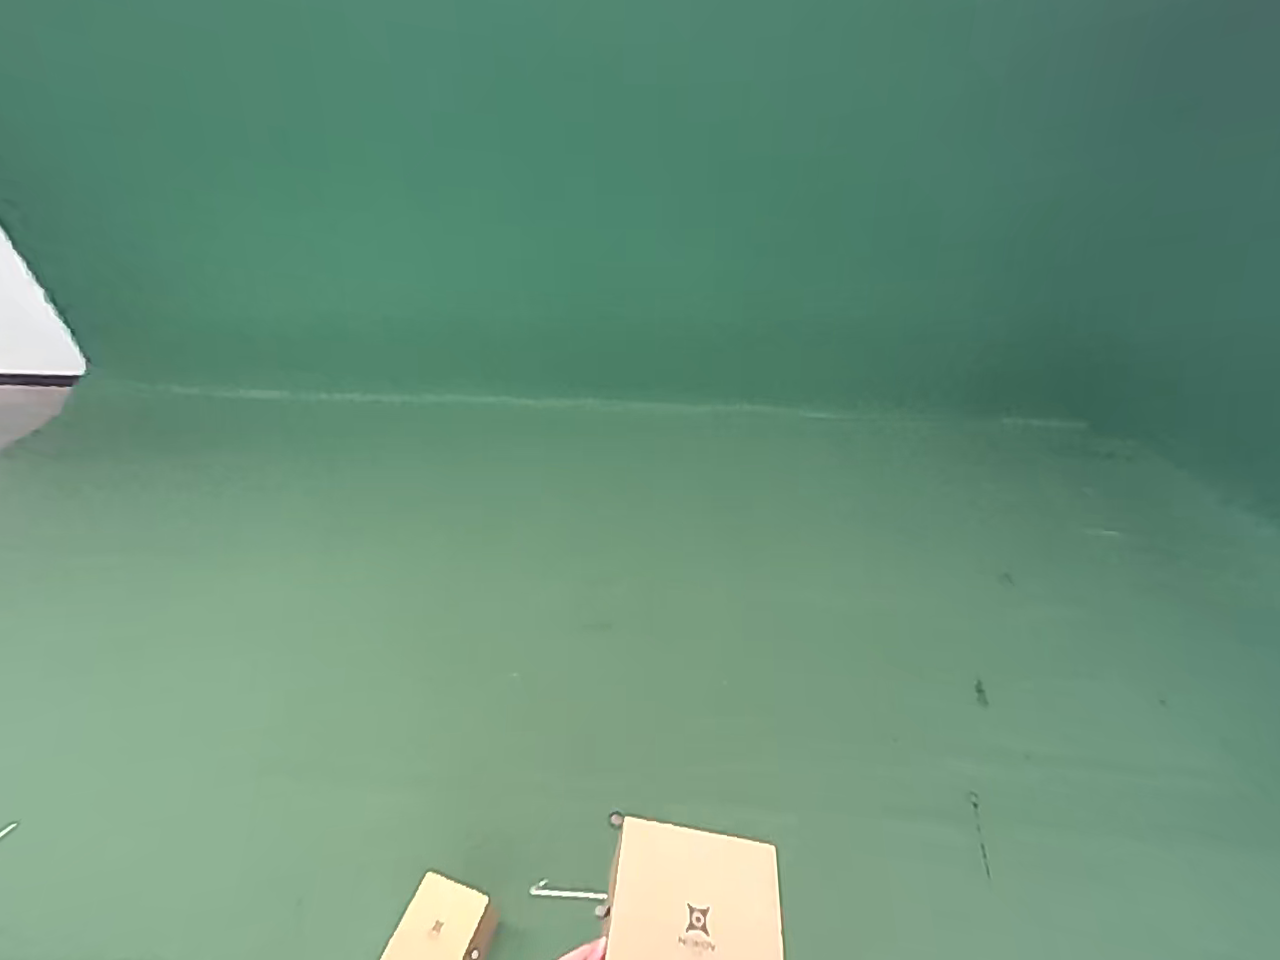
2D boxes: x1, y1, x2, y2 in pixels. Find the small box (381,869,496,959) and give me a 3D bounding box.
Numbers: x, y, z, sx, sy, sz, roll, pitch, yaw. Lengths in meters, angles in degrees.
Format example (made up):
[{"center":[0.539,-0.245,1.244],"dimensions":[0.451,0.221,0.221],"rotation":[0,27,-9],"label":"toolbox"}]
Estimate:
[{"center":[-0.444,1.035,1.226],"dimensions":[0.168,0.176,0.179],"rotation":[12,41,14],"label":"small box"}]
